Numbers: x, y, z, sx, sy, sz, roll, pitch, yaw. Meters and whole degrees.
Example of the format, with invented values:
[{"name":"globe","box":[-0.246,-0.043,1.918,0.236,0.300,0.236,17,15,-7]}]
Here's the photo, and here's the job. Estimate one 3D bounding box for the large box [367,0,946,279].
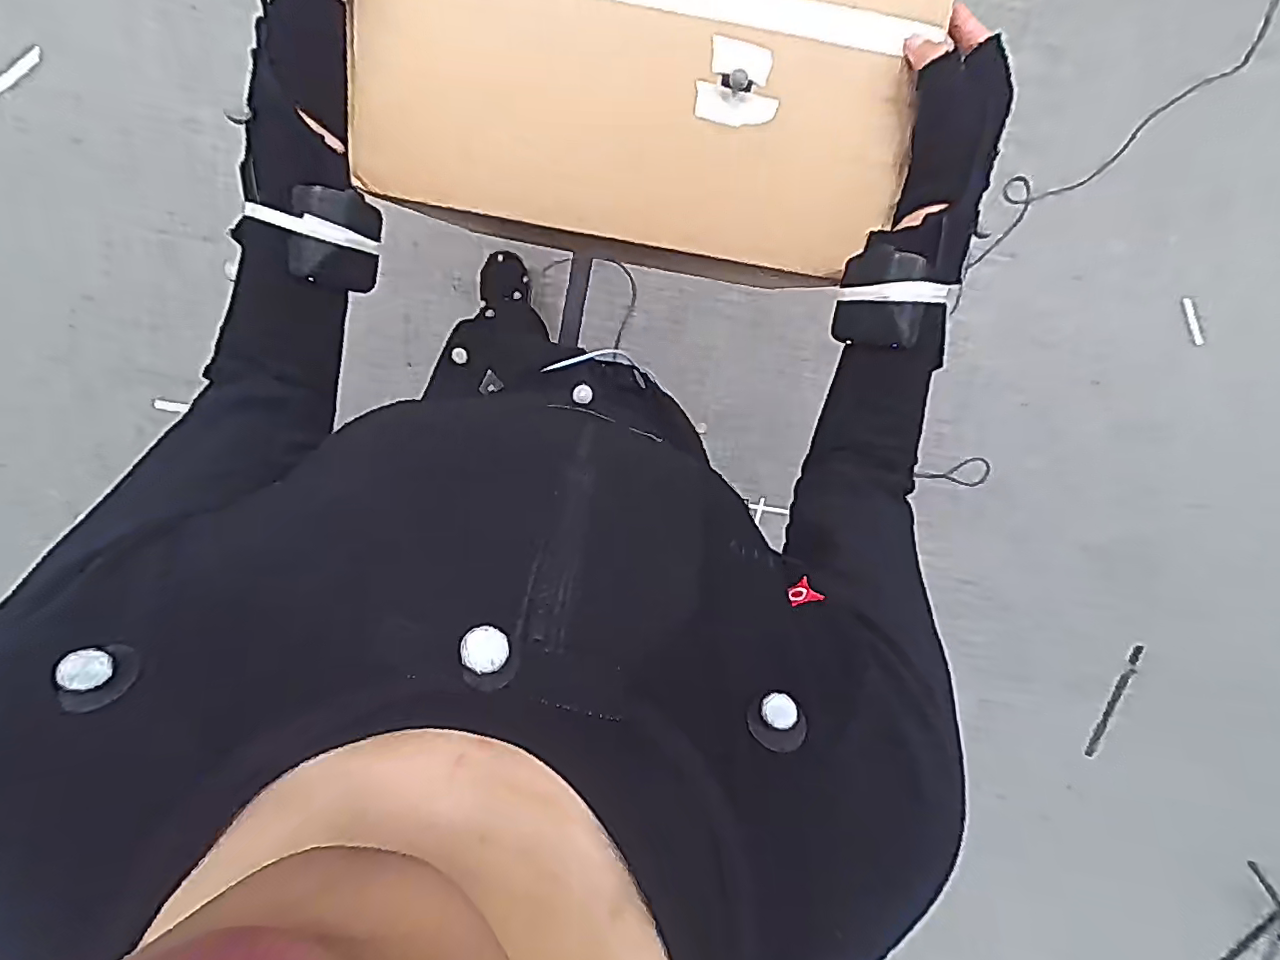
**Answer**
[{"name":"large box","box":[0.008,-0.385,0.514,0.408,0.320,0.320,8,110,-5]}]
